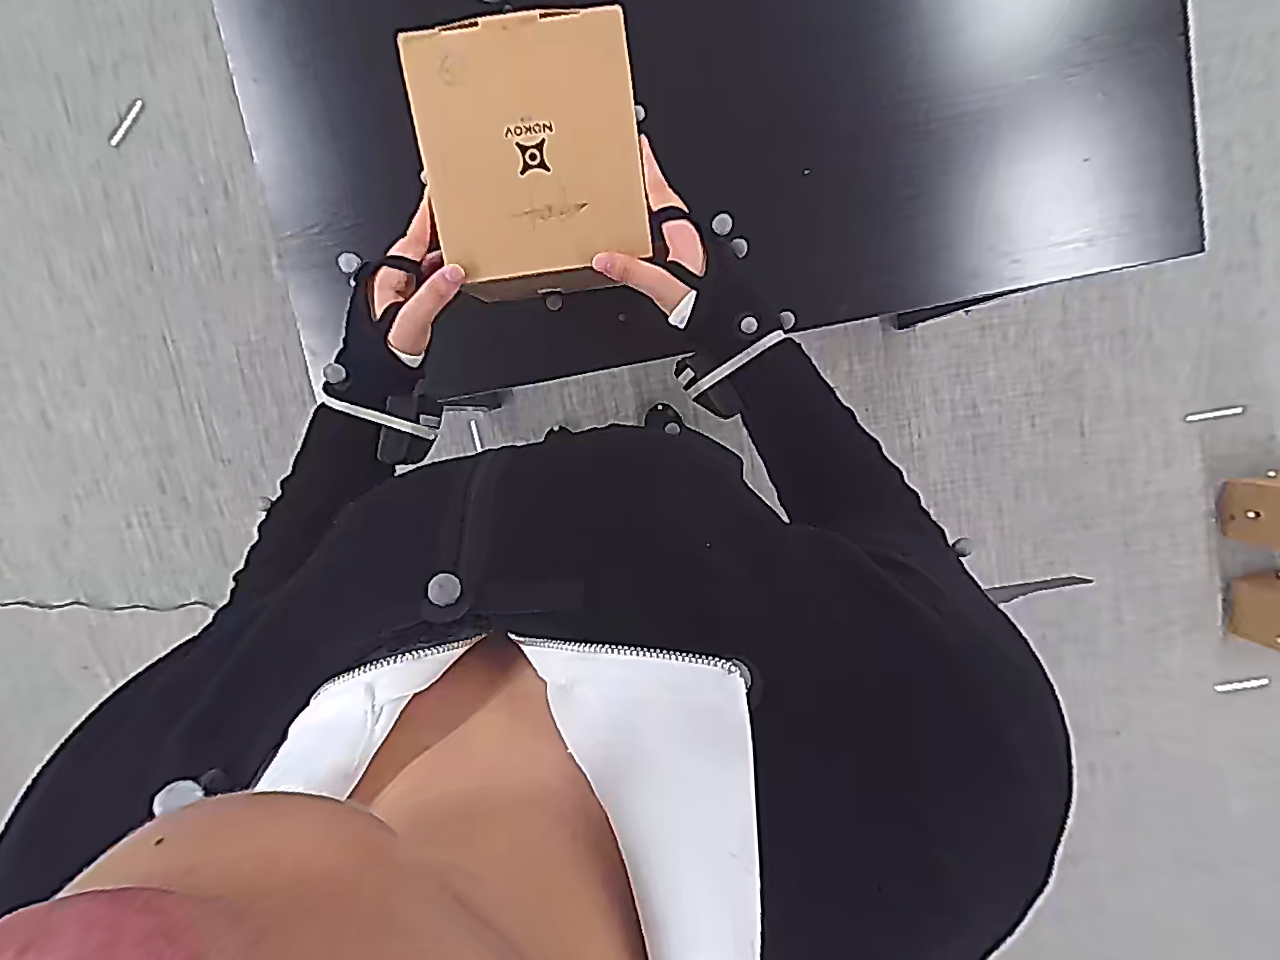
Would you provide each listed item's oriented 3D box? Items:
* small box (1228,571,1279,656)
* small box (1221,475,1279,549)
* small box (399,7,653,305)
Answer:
[{"bbox_3d":[1.753,0.362,1.456,0.168,0.176,0.179,-11,97,1],"label":"small box"},{"bbox_3d":[1.693,0.084,1.420,0.179,0.176,0.168,-8,97,1],"label":"small box"},{"bbox_3d":[-0.086,-0.262,0.479,0.168,0.176,0.179,-8,104,-2],"label":"small box"}]
